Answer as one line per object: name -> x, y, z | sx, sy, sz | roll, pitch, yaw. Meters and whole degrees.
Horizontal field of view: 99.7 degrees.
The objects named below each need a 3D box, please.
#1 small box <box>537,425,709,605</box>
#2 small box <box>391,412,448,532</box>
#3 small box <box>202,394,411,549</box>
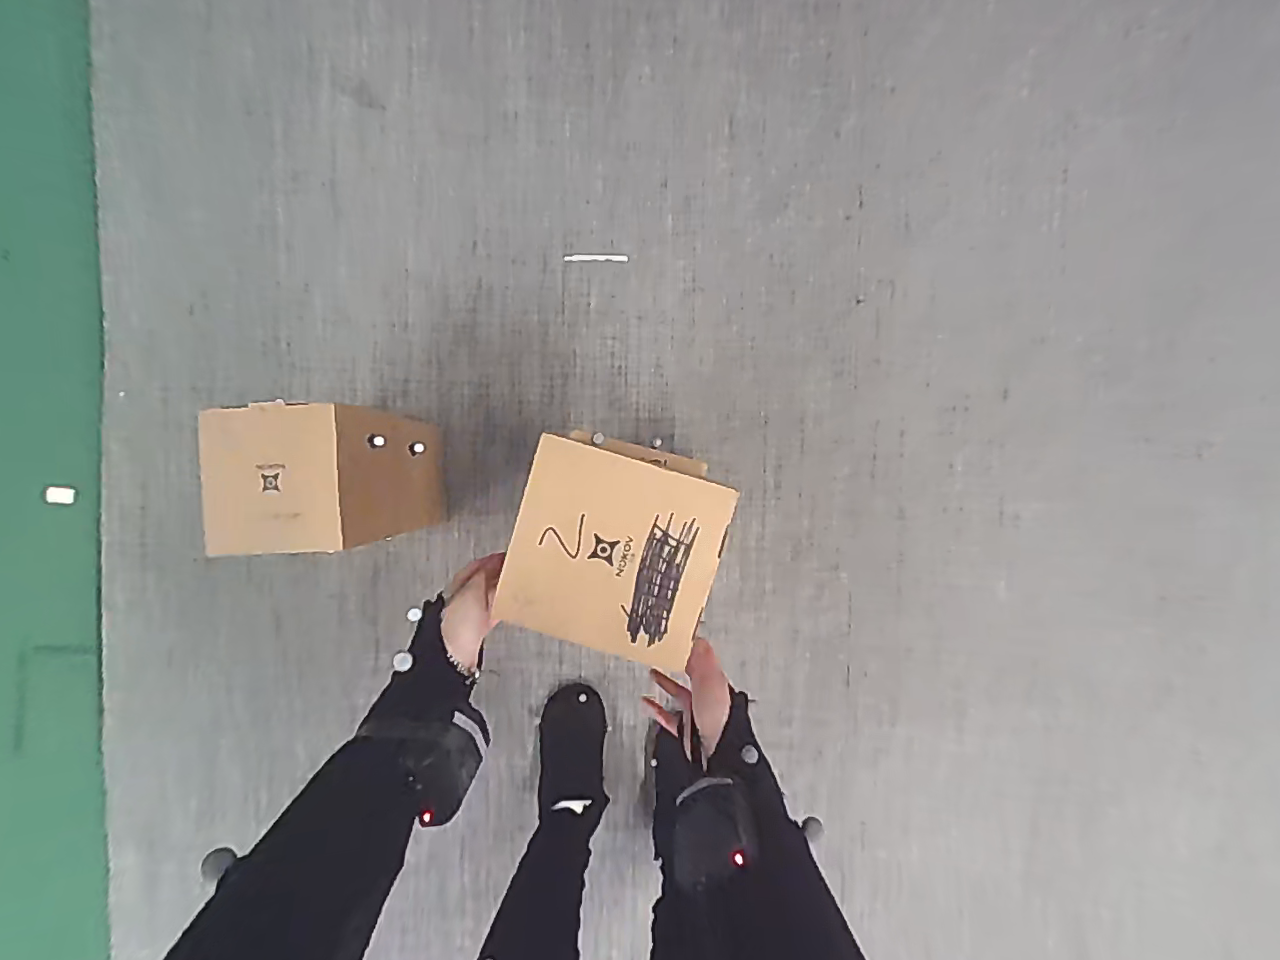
small box -> -0.017, 0.037, 0.696 | 0.168, 0.176, 0.179 | 15, 92, 1
small box -> -0.421, -0.009, 0.865 | 0.168, 0.176, 0.179 | -3, 91, 1
small box -> -0.418, -0.010, 0.703 | 0.168, 0.176, 0.179 | -3, 92, 2
